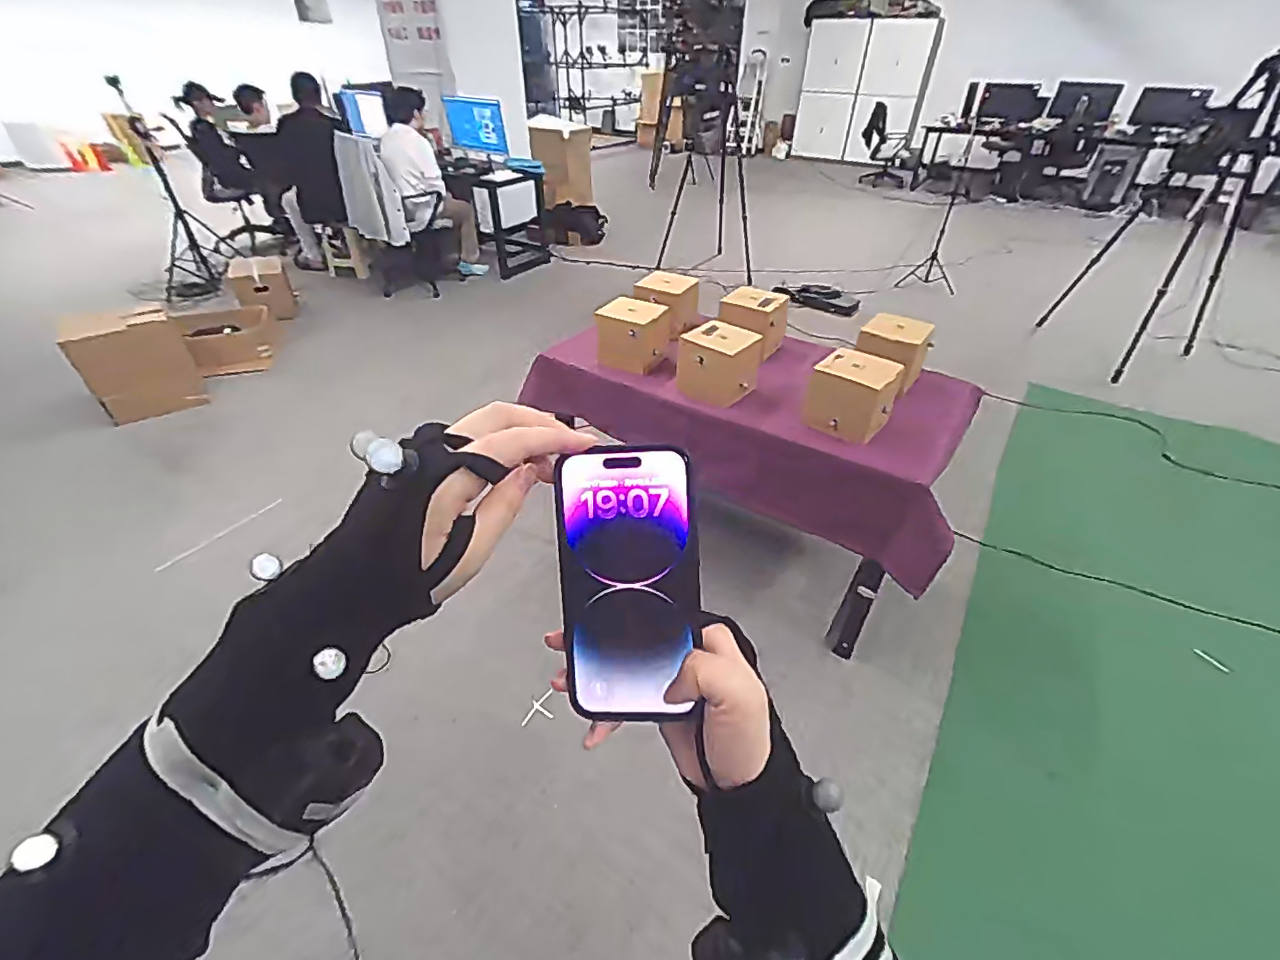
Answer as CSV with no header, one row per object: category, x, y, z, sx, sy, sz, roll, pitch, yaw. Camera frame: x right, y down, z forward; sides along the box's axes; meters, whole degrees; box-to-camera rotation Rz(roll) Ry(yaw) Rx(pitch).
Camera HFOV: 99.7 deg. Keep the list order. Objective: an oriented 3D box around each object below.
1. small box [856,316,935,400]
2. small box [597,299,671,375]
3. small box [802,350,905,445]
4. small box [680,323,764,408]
small box,0.743,-0.365,1.607,0.168,0.176,0.179,26,46,29
small box,-0.021,-0.448,1.698,0.179,0.176,0.168,20,42,21
small box,0.552,-0.211,1.411,0.179,0.176,0.168,30,46,31
small box,0.228,-0.328,1.551,0.179,0.176,0.168,29,46,30
